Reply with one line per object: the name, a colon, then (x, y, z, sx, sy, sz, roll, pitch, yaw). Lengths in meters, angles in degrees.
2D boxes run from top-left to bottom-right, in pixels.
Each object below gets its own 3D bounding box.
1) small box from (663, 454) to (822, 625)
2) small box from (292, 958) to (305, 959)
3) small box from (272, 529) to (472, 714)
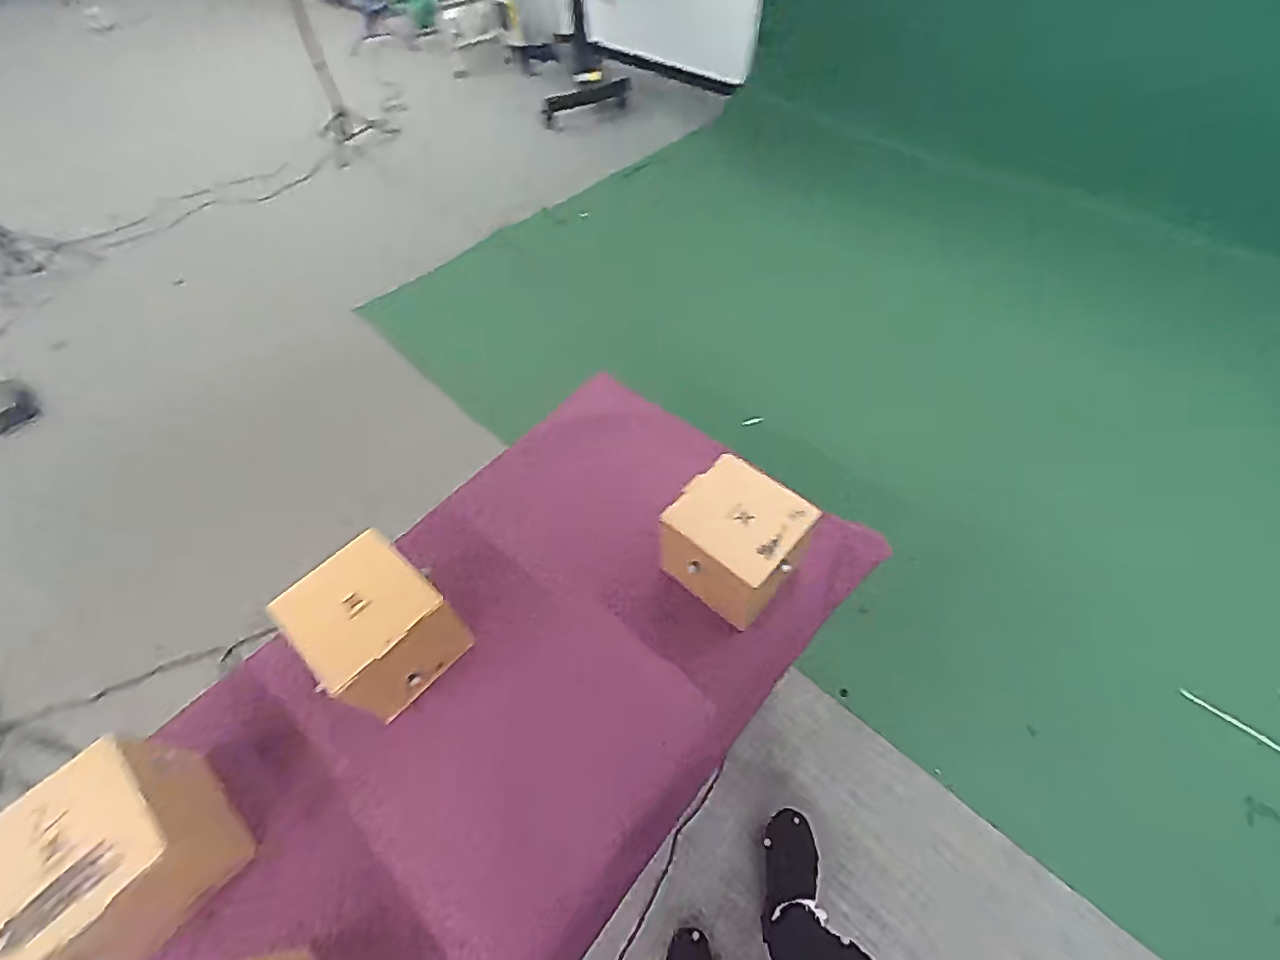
small box: (0.153, 0.098, 0.856, 0.179, 0.176, 0.168, 36, 64, 26)
small box: (-0.386, 0.603, 0.508, 0.179, 0.176, 0.168, 35, 62, 24)
small box: (-0.378, 0.211, 0.790, 0.179, 0.176, 0.168, 36, 62, 22)
